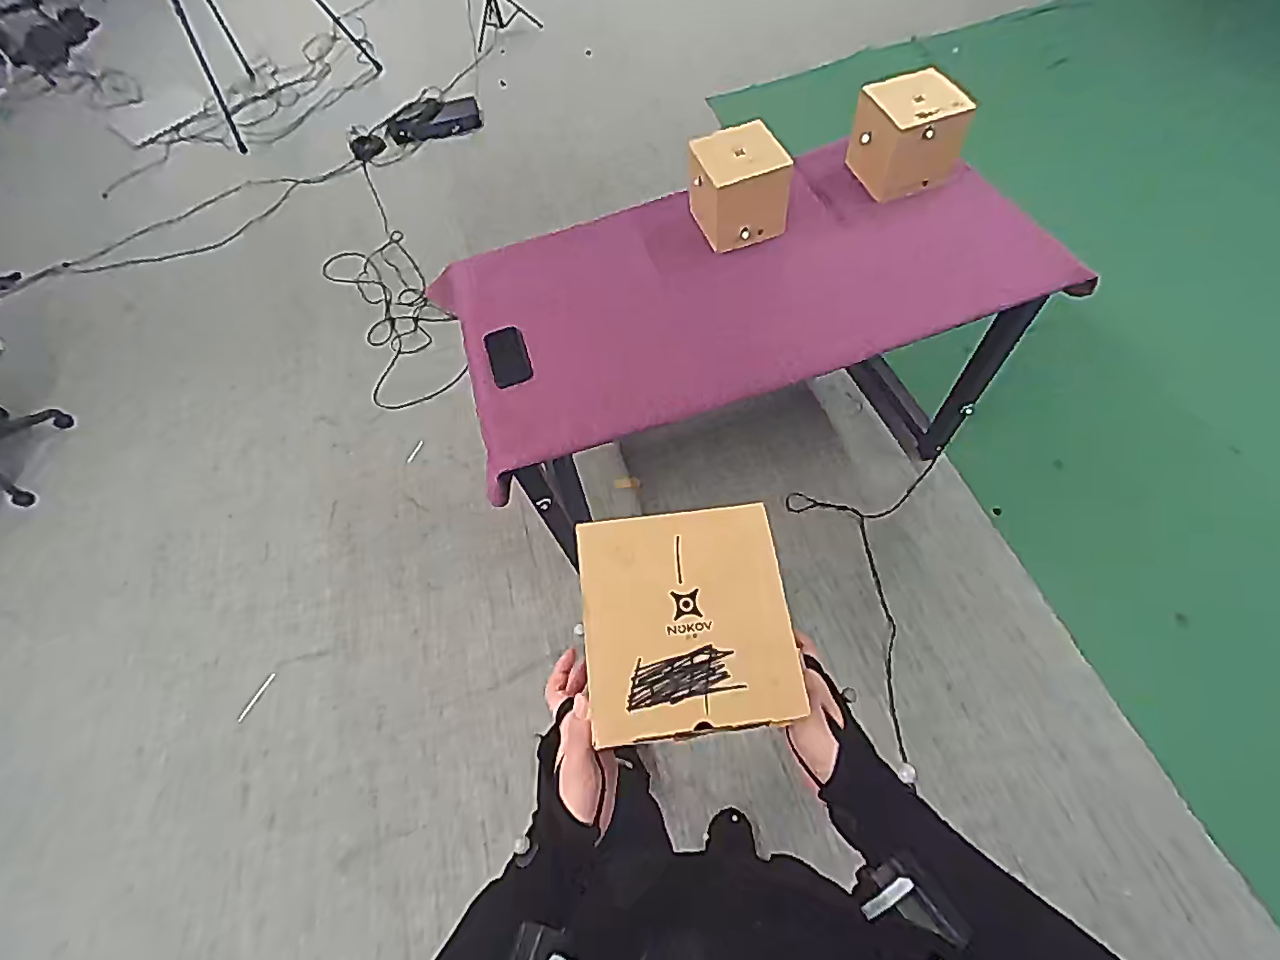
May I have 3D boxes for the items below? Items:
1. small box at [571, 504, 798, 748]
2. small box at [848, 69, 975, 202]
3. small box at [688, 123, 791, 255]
[{"bbox_3d":[0.032,0.138,0.507,0.168,0.176,0.179,-7,68,-2],"label":"small box"},{"bbox_3d":[0.581,-0.751,1.188,0.168,0.176,0.179,-18,60,0],"label":"small box"},{"bbox_3d":[0.210,-0.629,1.179,0.168,0.176,0.179,-19,61,-1],"label":"small box"}]
